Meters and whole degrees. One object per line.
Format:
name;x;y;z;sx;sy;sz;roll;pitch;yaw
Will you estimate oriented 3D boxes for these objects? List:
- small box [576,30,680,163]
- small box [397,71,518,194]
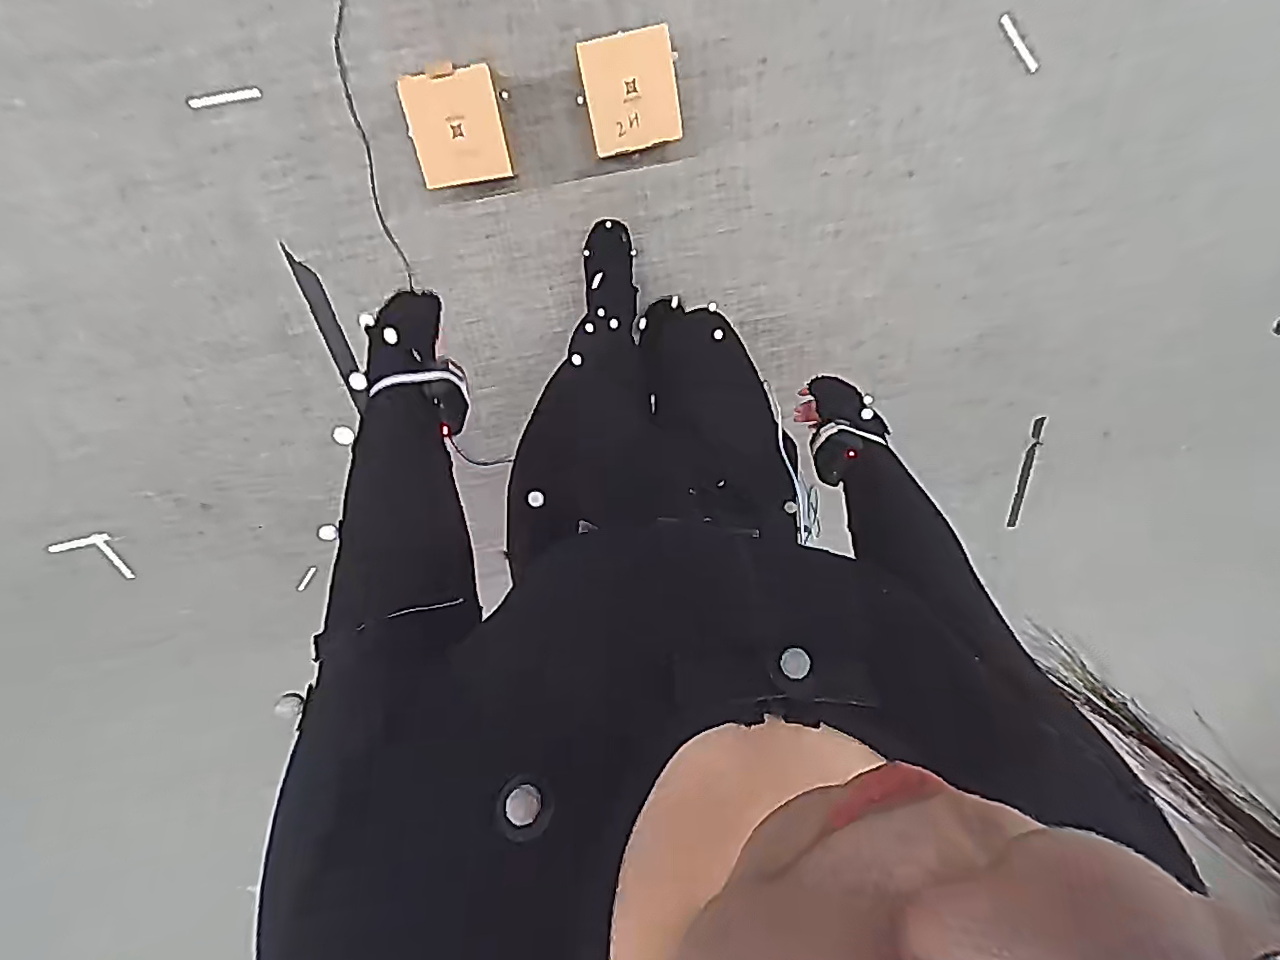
small box;-0.027;-0.728;1.047;0.168;0.176;0.179;-12;121;1
small box;-0.342;-0.666;1.050;0.168;0.176;0.179;-9;121;0
